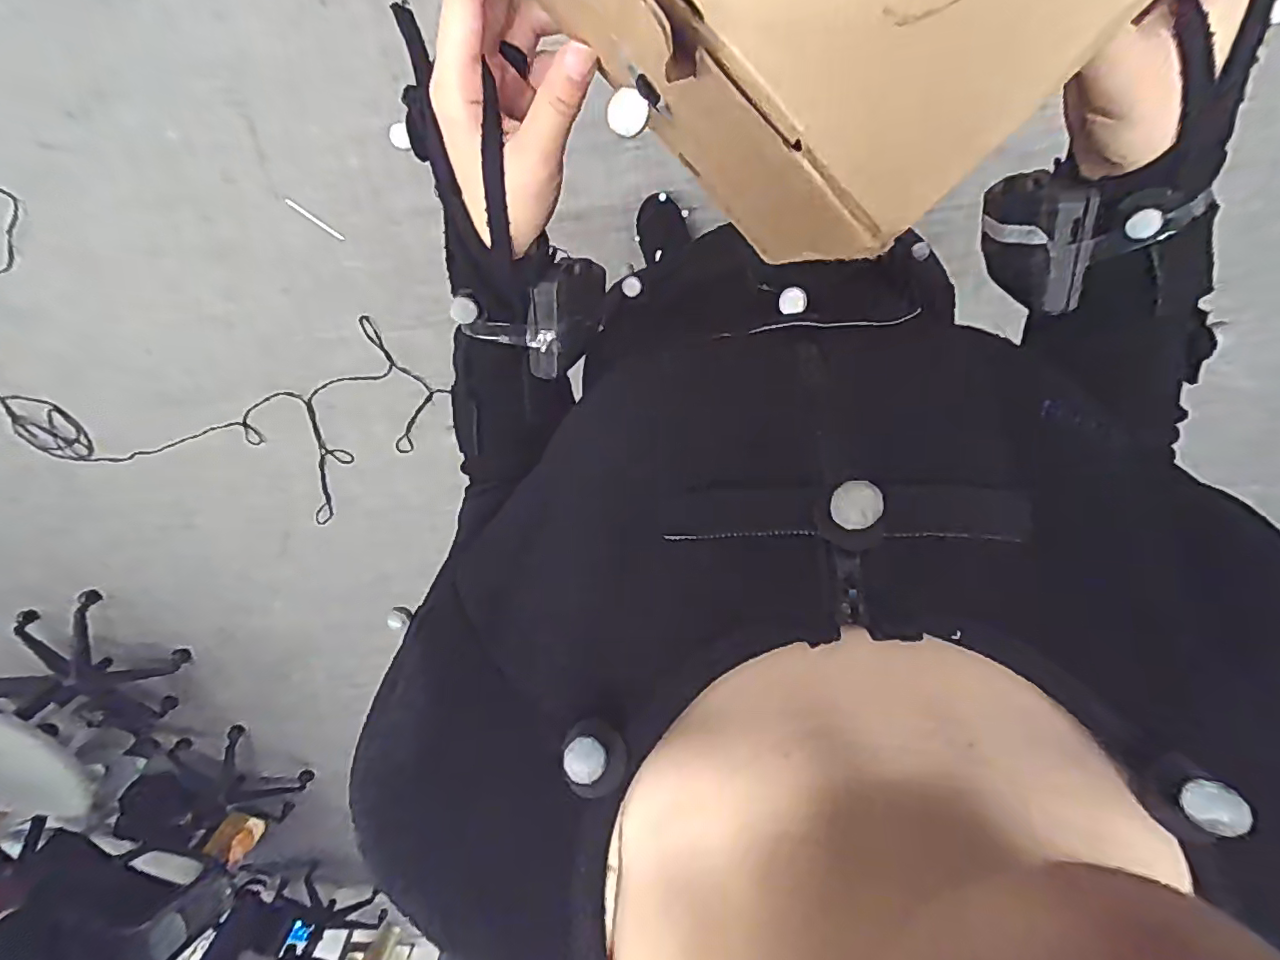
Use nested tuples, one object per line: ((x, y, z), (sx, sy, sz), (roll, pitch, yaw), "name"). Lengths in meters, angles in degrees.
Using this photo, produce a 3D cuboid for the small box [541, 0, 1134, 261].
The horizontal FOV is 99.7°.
((0.063, -0.191, 0.171), (0.168, 0.176, 0.179), (43, 109, -11), "small box")
